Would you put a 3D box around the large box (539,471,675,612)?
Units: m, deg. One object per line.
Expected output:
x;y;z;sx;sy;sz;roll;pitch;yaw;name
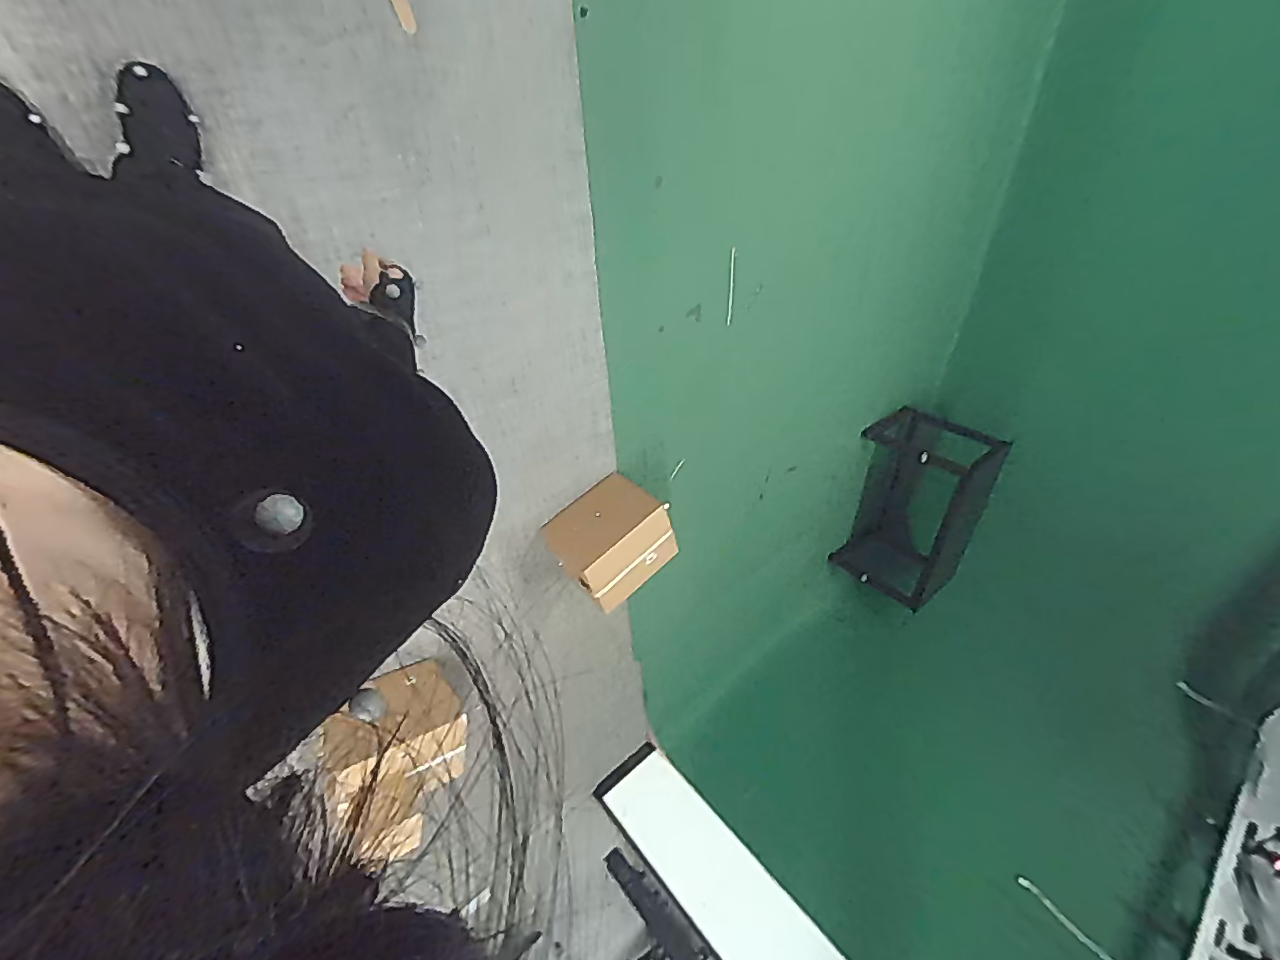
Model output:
-0.127;0.238;2.178;0.408;0.320;0.320;-40;139;-20;large box

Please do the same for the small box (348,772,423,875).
-0.790;1.053;1.671;0.168;0.176;0.179;-11;124;-42;small box
